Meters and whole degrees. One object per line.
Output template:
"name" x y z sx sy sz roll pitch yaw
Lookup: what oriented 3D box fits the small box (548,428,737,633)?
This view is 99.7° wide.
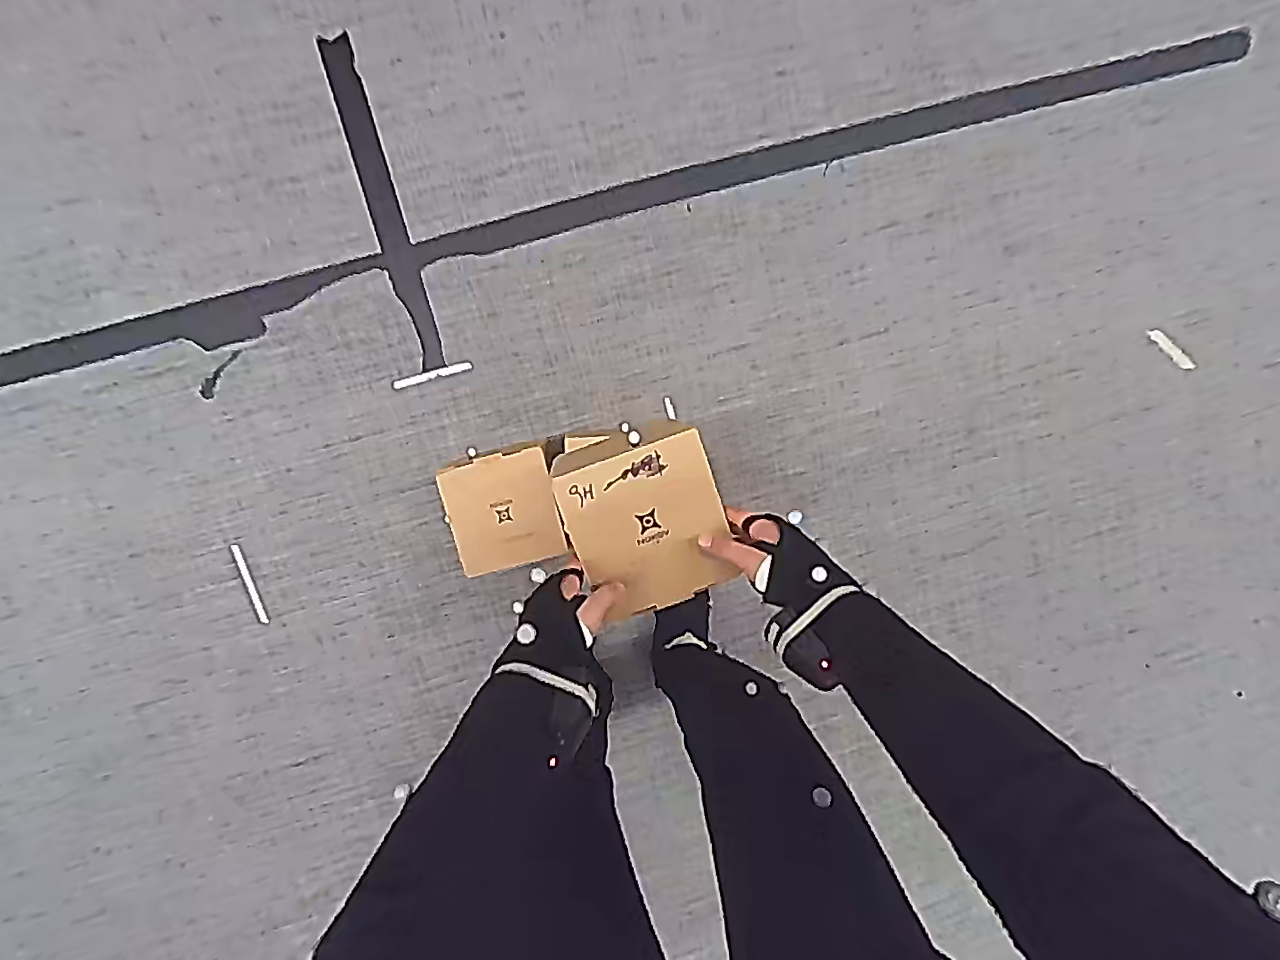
"small box" -0.001 0.049 0.653 0.168 0.176 0.179 -19 102 -3
